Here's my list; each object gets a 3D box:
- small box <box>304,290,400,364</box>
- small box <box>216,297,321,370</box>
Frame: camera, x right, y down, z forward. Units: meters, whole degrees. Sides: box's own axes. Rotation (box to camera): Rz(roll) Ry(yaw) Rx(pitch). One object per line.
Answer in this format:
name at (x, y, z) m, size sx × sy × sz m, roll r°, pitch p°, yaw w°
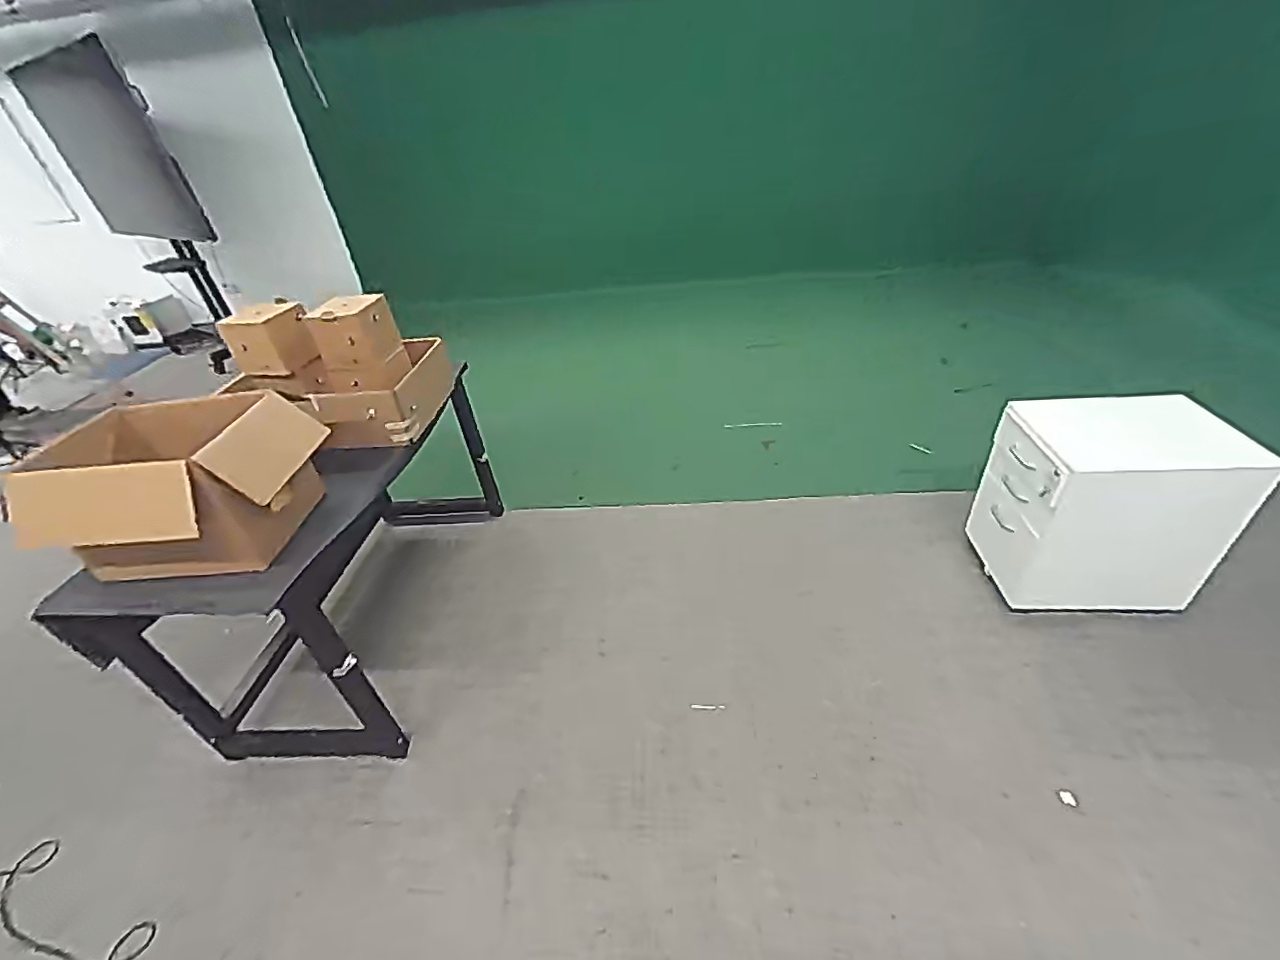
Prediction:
small box at (-0.857, -0.459, 1.633) m, size 0.168 × 0.176 × 0.179 m, roll 0°, pitch 37°, yaw 8°
small box at (-1.126, -0.448, 1.656) m, size 0.168 × 0.176 × 0.179 m, roll 3°, pitch 37°, yaw 11°
